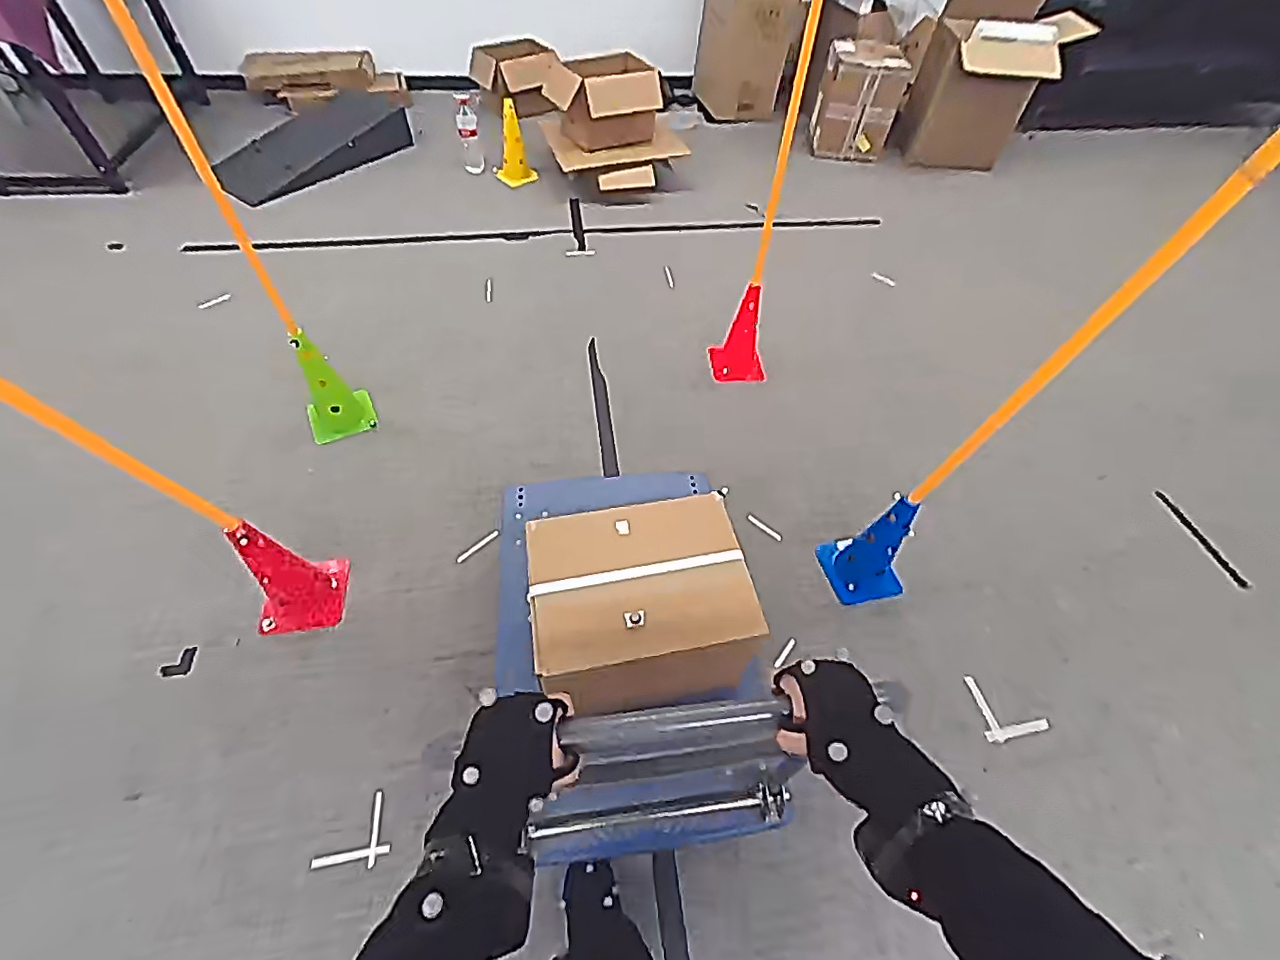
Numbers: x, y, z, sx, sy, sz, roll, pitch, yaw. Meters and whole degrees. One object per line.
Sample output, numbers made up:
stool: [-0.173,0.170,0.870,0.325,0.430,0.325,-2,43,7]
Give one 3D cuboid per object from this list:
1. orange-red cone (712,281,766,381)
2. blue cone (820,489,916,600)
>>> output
orange-red cone: [0.392,-0.556,1.963,0.199,0.360,0.198,1,54,-4]
blue cone: [0.653,0.157,1.460,0.193,0.380,0.192,-8,53,-10]
